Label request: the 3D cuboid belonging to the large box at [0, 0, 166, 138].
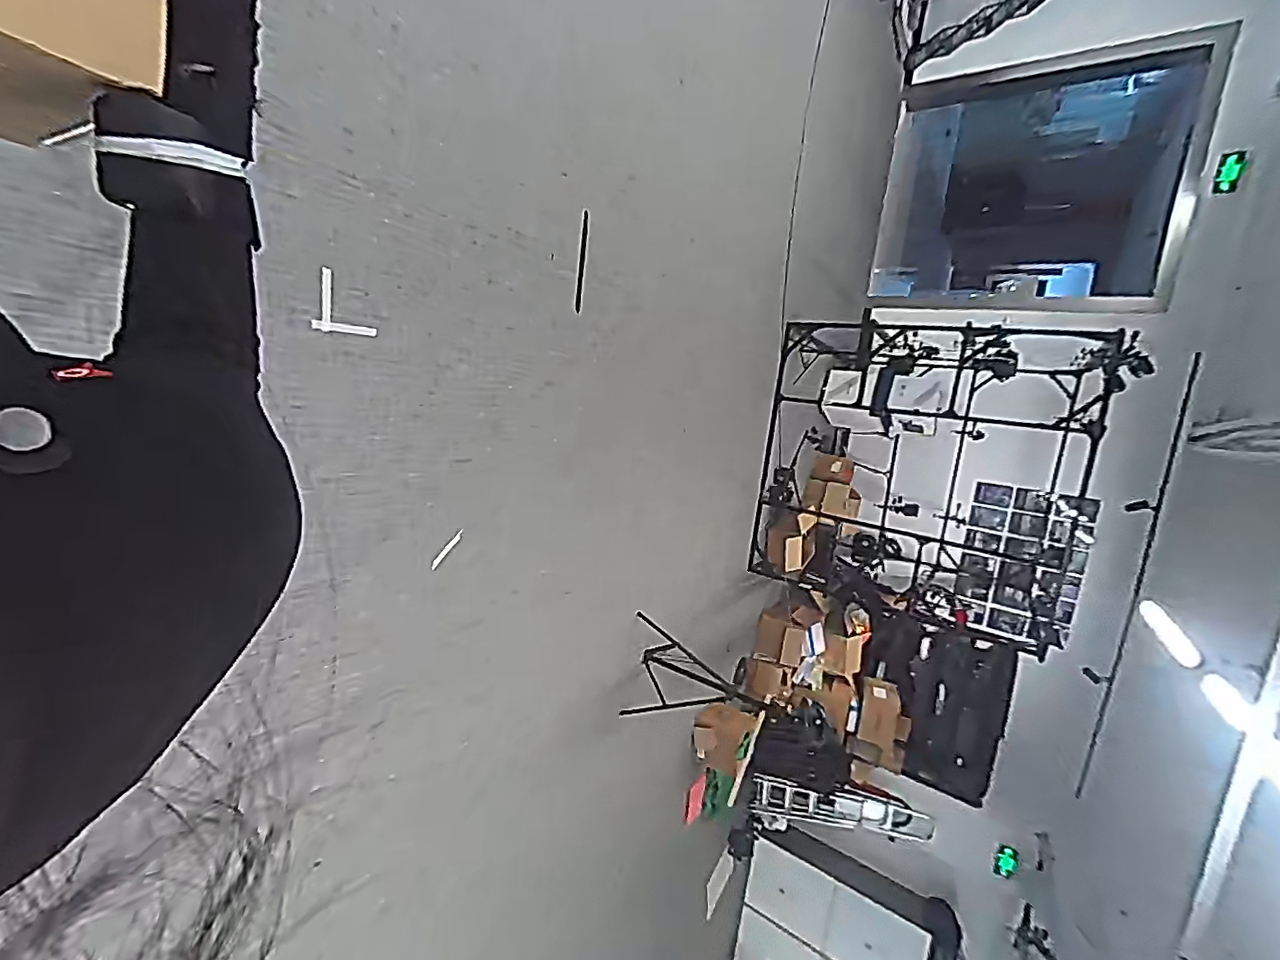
[{"bbox_3d":[-0.519,-0.418,0.236,0.408,0.320,0.320,-5,108,-59],"label":"large box"}]
